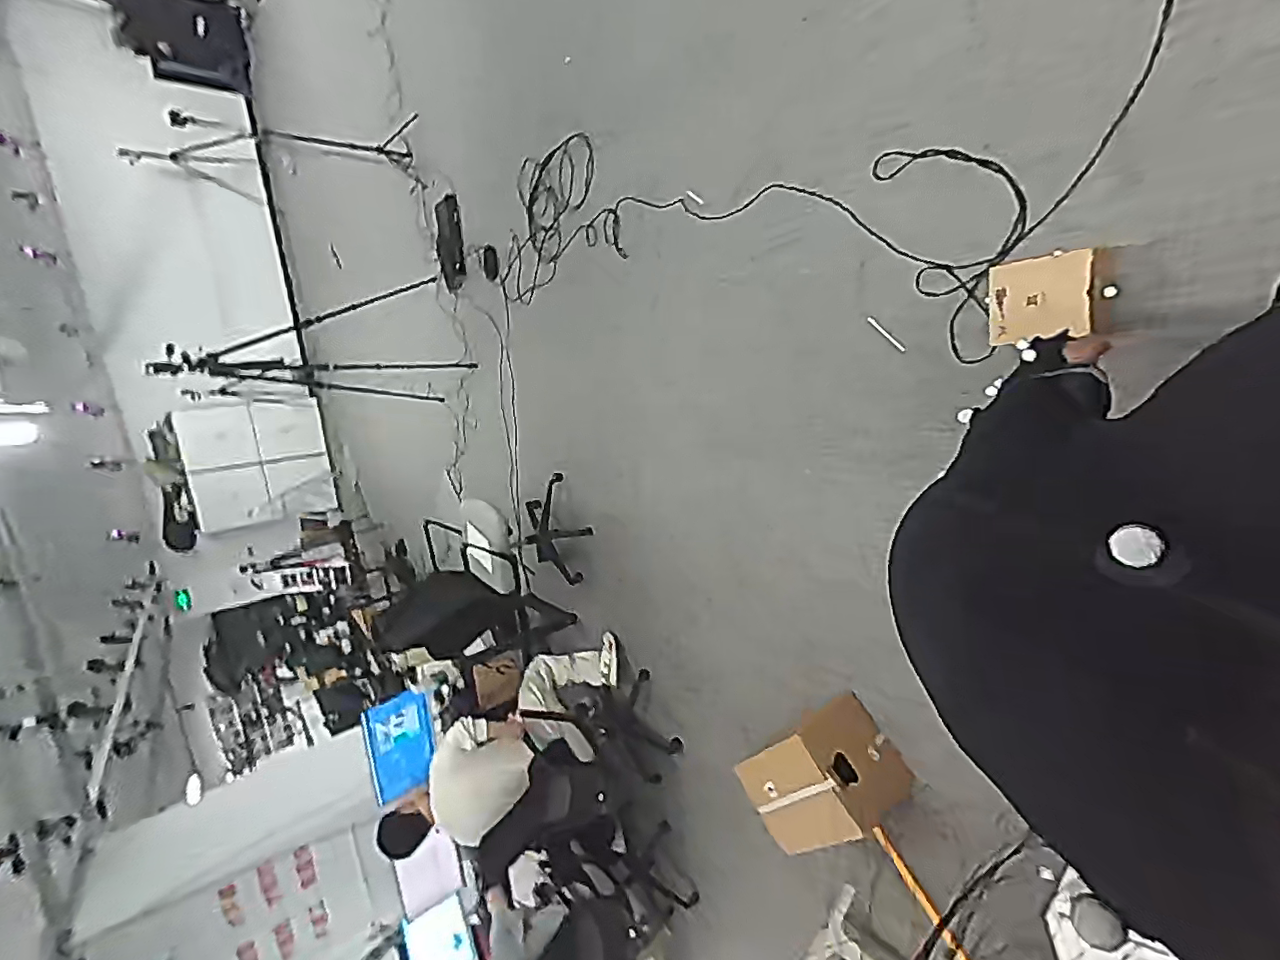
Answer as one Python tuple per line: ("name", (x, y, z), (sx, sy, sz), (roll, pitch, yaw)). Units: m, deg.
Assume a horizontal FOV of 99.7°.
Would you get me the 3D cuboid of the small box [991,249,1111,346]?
("small box", (0.871, -0.381, 1.146), (0.179, 0.176, 0.168), (5, 105, 50))
